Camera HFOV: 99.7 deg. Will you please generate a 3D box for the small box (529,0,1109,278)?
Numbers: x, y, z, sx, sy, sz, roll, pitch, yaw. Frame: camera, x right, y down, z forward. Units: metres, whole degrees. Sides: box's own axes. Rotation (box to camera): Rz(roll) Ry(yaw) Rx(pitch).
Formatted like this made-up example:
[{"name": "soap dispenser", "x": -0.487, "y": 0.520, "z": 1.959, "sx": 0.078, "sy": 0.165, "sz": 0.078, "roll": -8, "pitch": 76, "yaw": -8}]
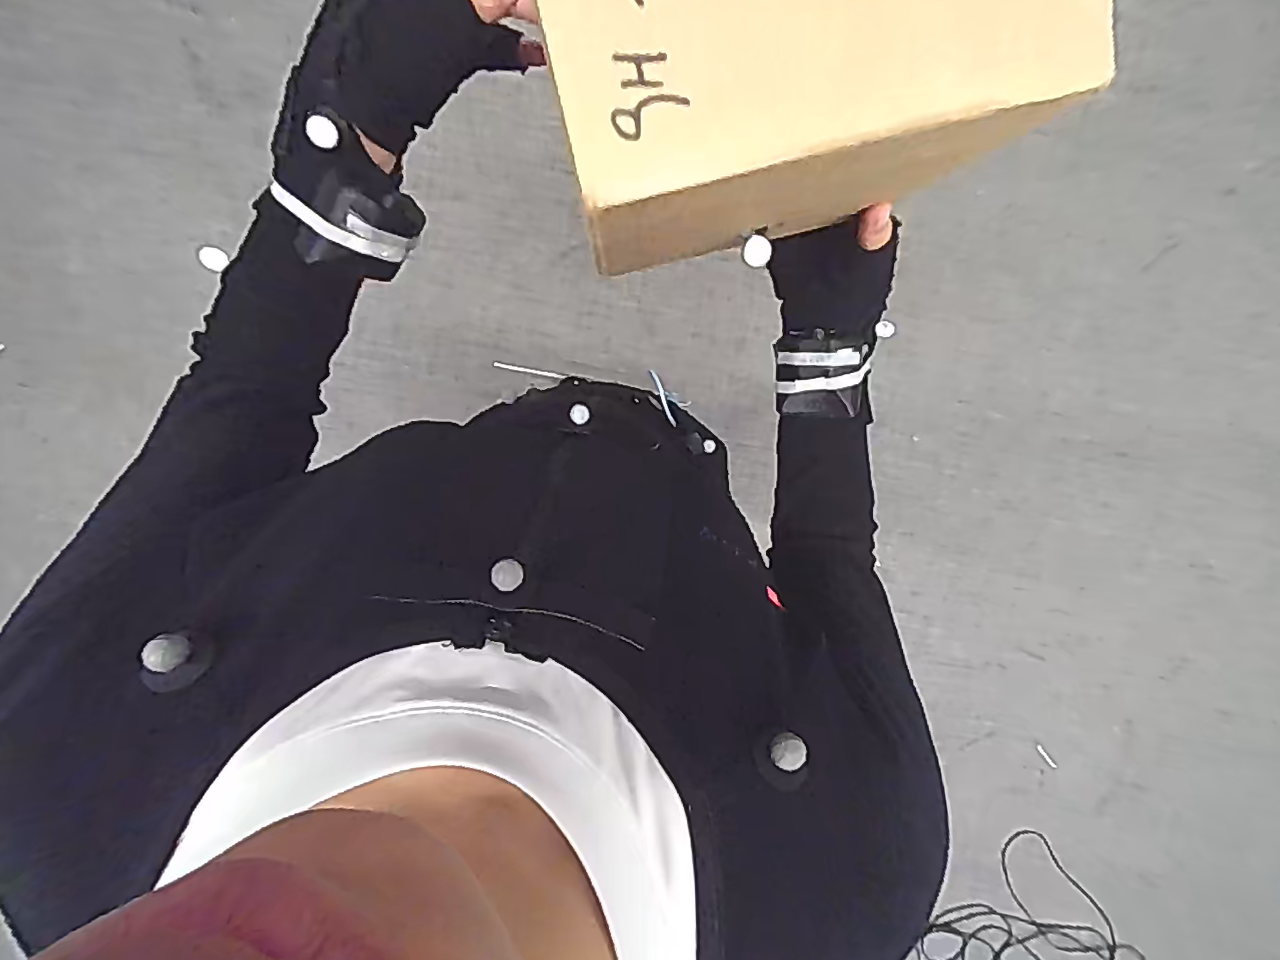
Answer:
[{"name": "small box", "x": 0.046, "y": -0.197, "z": 0.233, "sx": 0.179, "sy": 0.176, "sz": 0.168, "roll": -13, "pitch": 104, "yaw": 0}]
